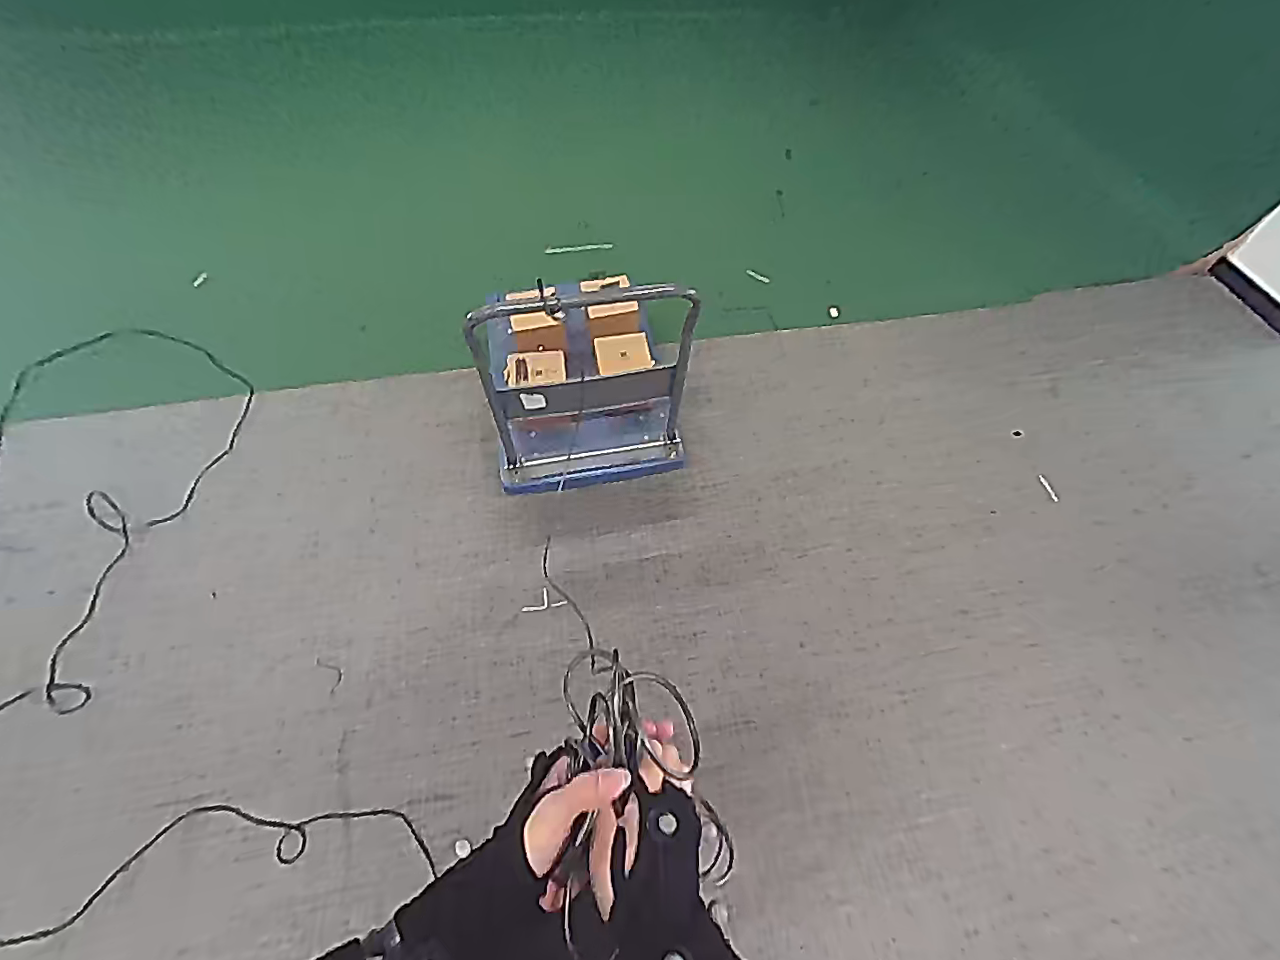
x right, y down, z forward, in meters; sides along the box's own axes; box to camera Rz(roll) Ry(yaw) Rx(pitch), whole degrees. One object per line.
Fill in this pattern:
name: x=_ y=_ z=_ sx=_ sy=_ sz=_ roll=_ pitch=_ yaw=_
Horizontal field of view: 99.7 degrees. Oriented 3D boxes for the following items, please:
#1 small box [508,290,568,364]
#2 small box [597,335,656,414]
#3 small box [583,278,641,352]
small box: x=-0.342 y=-0.510 z=1.834 sx=0.168 sy=0.176 sz=0.179 roll=-12 pitch=60 yaw=-9
small box: x=-0.047 y=-0.337 z=1.737 sx=0.168 sy=0.176 sz=0.179 roll=-8 pitch=60 yaw=-6
small box: x=-0.100 y=-0.565 z=1.871 sx=0.168 sy=0.176 sz=0.179 roll=-13 pitch=61 yaw=-8
